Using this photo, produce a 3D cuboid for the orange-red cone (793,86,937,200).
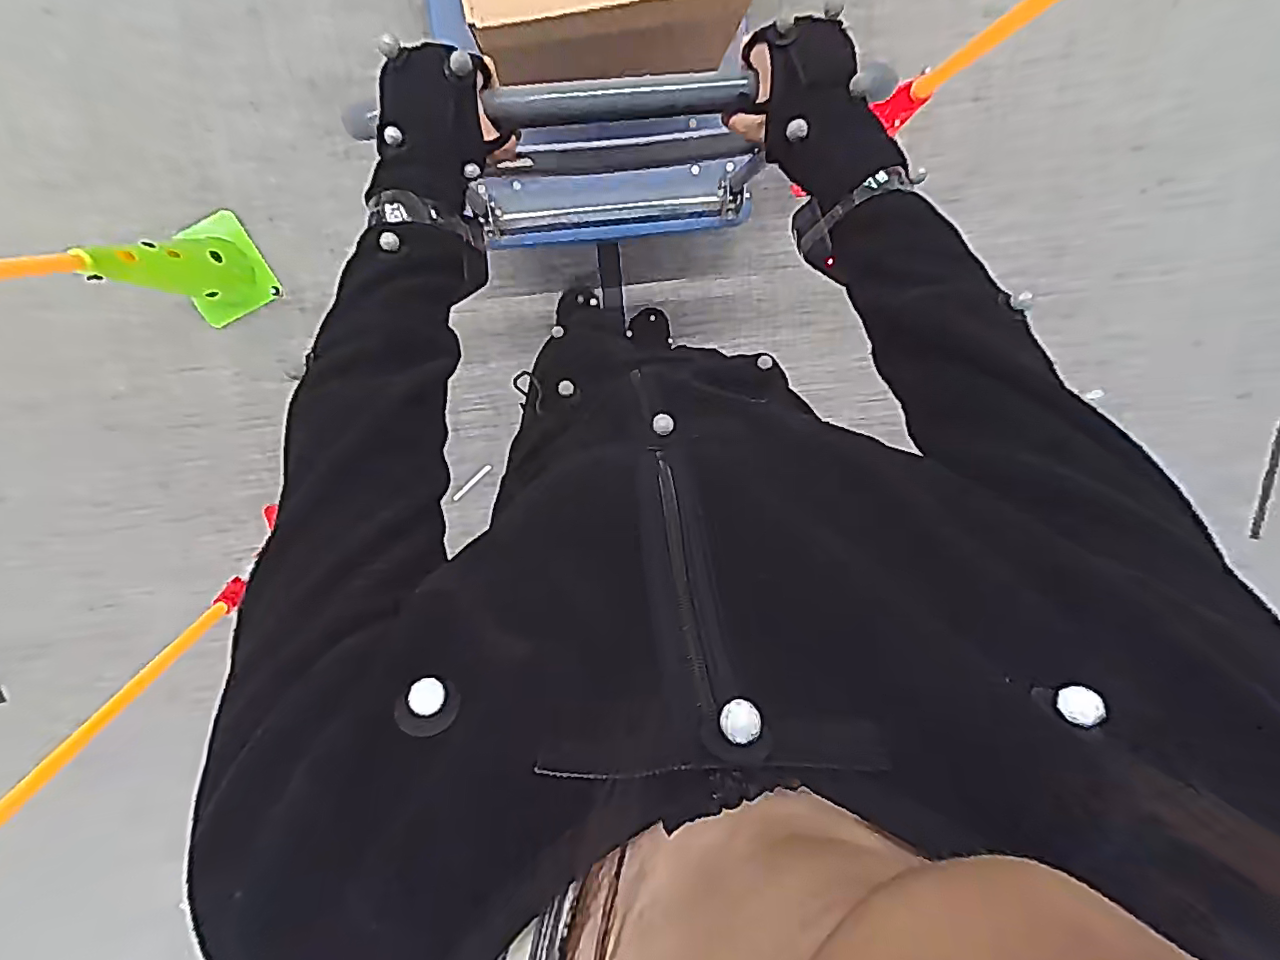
[{"bbox_3d":[0.466,-0.692,1.063,0.199,0.360,0.198,0,109,-5],"label":"orange-red cone"}]
